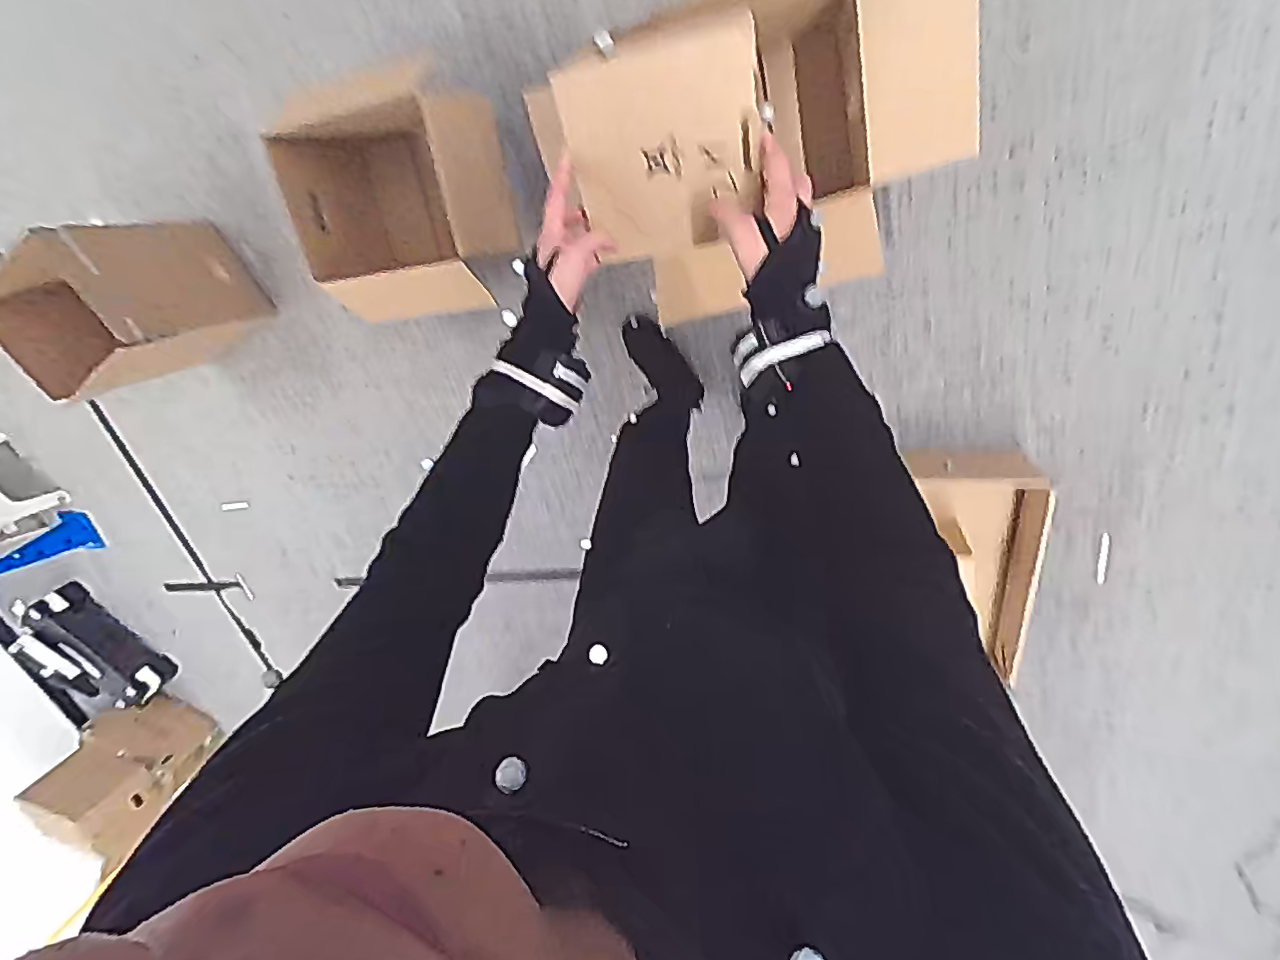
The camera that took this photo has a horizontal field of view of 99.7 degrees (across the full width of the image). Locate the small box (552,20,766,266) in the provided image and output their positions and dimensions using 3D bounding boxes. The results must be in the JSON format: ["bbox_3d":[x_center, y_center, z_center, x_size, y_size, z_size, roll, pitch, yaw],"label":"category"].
[{"bbox_3d":[0.034,-0.340,0.550,0.179,0.176,0.168,-5,132,13],"label":"small box"}]
